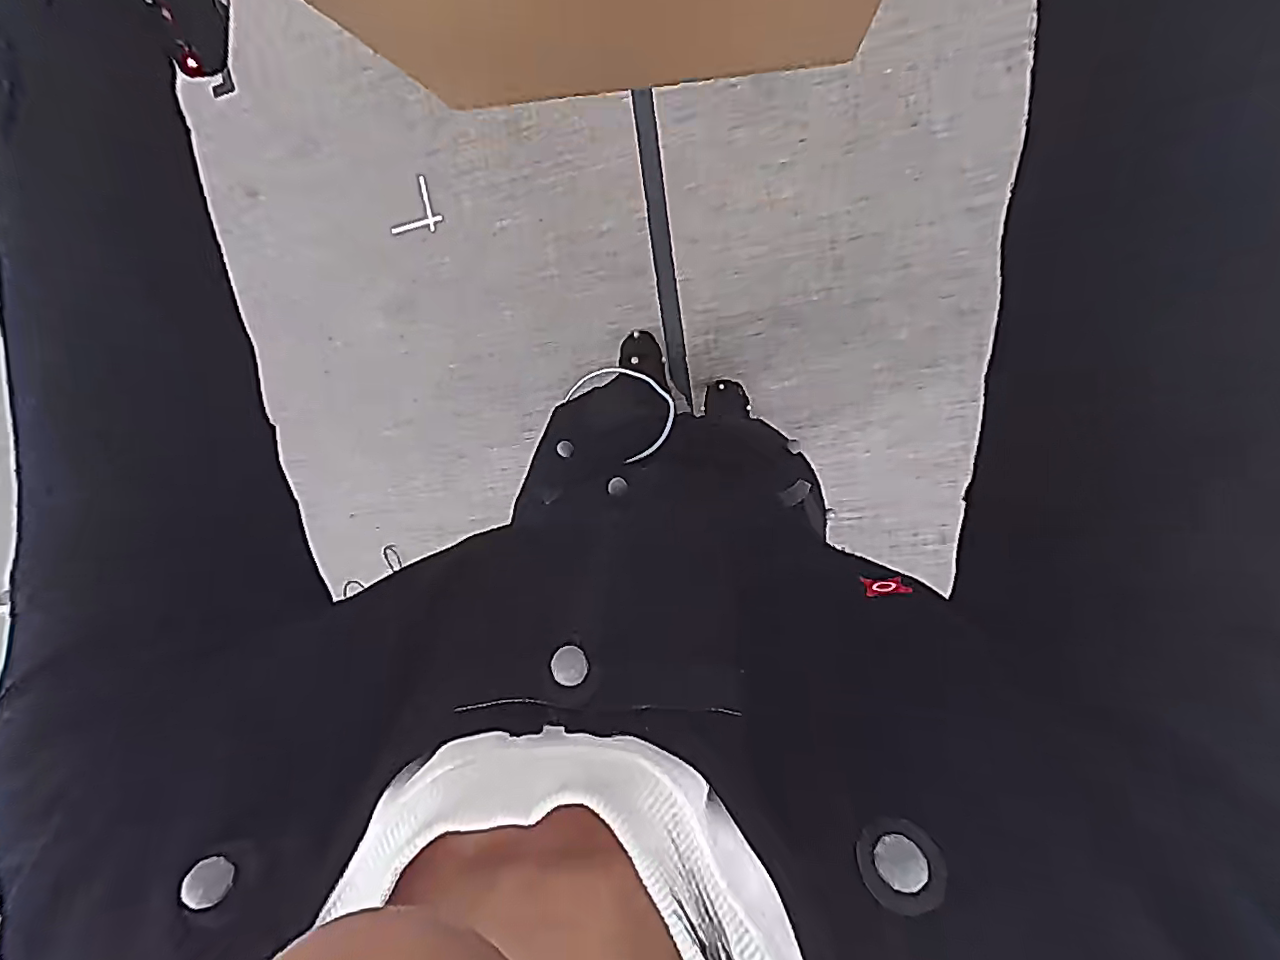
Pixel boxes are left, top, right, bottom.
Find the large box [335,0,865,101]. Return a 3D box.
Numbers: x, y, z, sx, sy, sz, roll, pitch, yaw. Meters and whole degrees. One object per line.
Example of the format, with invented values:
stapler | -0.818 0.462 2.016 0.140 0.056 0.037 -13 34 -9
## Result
large box | -0.032 -0.504 0.355 0.408 0.320 0.320 -1 108 9
